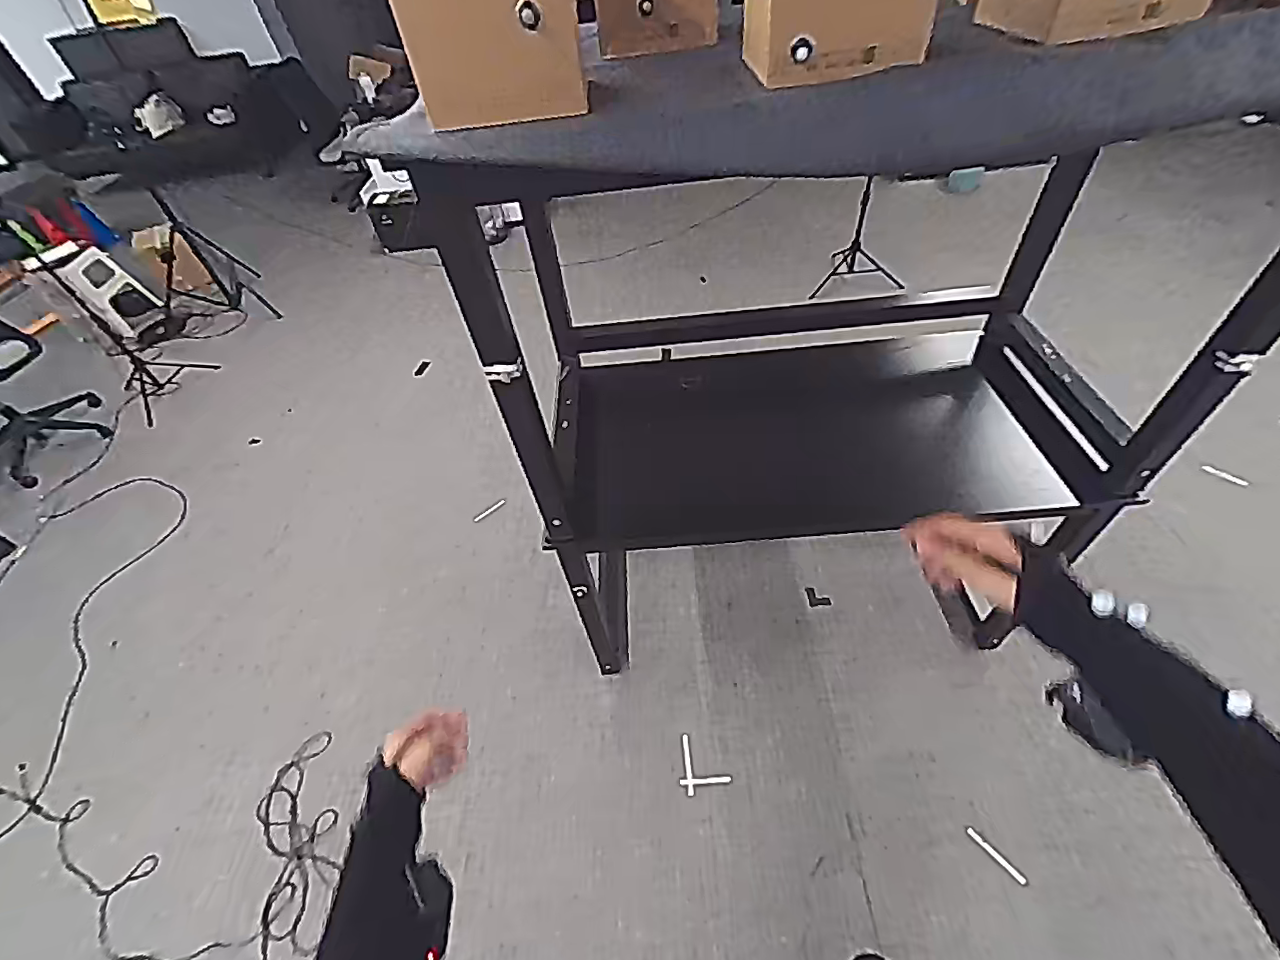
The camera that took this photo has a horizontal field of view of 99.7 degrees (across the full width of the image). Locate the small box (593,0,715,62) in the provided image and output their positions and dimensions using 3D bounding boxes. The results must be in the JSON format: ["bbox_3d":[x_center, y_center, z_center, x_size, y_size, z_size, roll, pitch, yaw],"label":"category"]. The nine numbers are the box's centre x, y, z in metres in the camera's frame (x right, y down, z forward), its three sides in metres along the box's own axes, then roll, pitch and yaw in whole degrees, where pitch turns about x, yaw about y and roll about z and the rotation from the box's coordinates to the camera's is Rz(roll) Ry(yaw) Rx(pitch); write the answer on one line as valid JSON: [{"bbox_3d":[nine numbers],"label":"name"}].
[{"bbox_3d":[0.013,-0.716,0.764,0.168,0.176,0.179,-7,49,2],"label":"small box"}]

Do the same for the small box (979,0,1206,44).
[{"bbox_3d":[0.509,-0.596,0.586,0.168,0.176,0.179,-6,47,3],"label":"small box"}]

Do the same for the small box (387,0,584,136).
[{"bbox_3d":[-0.157,-0.500,0.589,0.179,0.176,0.168,-6,47,1],"label":"small box"}]
